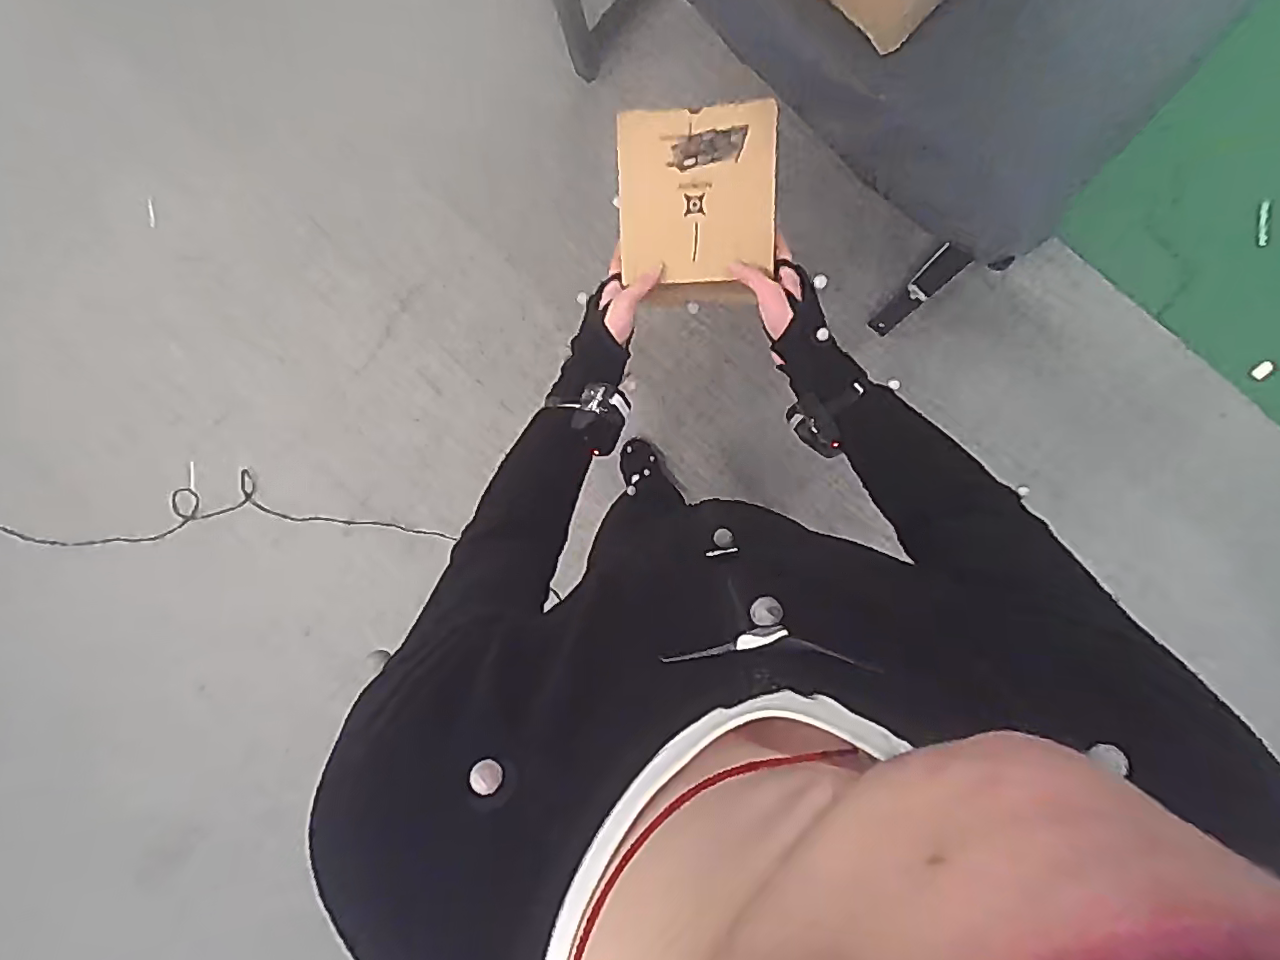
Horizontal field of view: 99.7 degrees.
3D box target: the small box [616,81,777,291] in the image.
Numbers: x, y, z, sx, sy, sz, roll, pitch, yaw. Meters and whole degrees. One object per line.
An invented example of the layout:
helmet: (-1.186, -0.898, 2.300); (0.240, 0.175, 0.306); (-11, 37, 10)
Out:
small box: (0.064, -0.328, 0.637); (0.168, 0.176, 0.179); (0, 102, 7)
